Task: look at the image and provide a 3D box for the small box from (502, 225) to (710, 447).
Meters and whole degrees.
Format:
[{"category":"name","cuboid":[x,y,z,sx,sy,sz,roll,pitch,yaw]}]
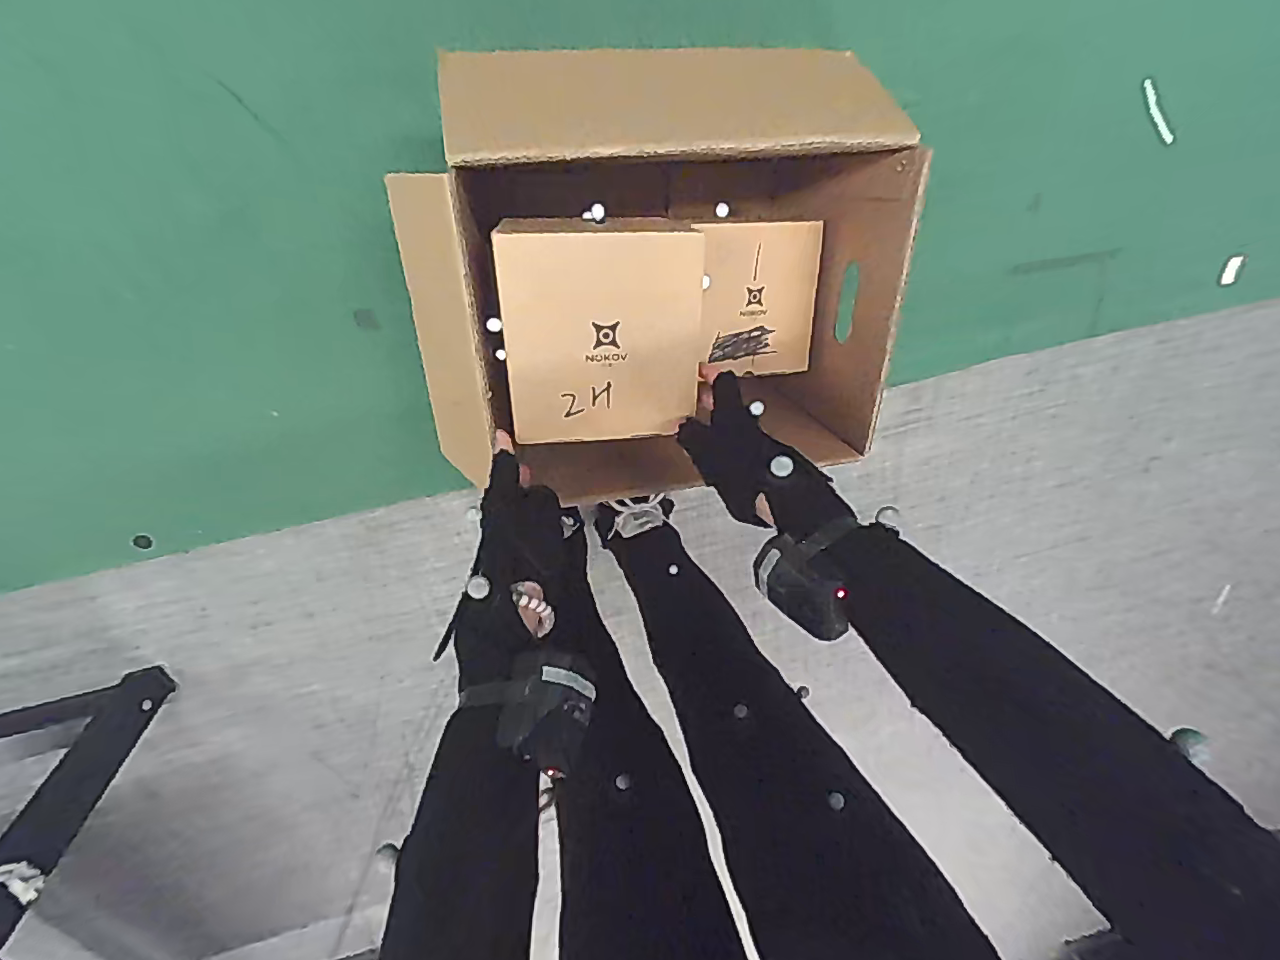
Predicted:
[{"category":"small box","cuboid":[-0.039,-0.147,0.521,0.168,0.176,0.179,-4,119,-8]}]
